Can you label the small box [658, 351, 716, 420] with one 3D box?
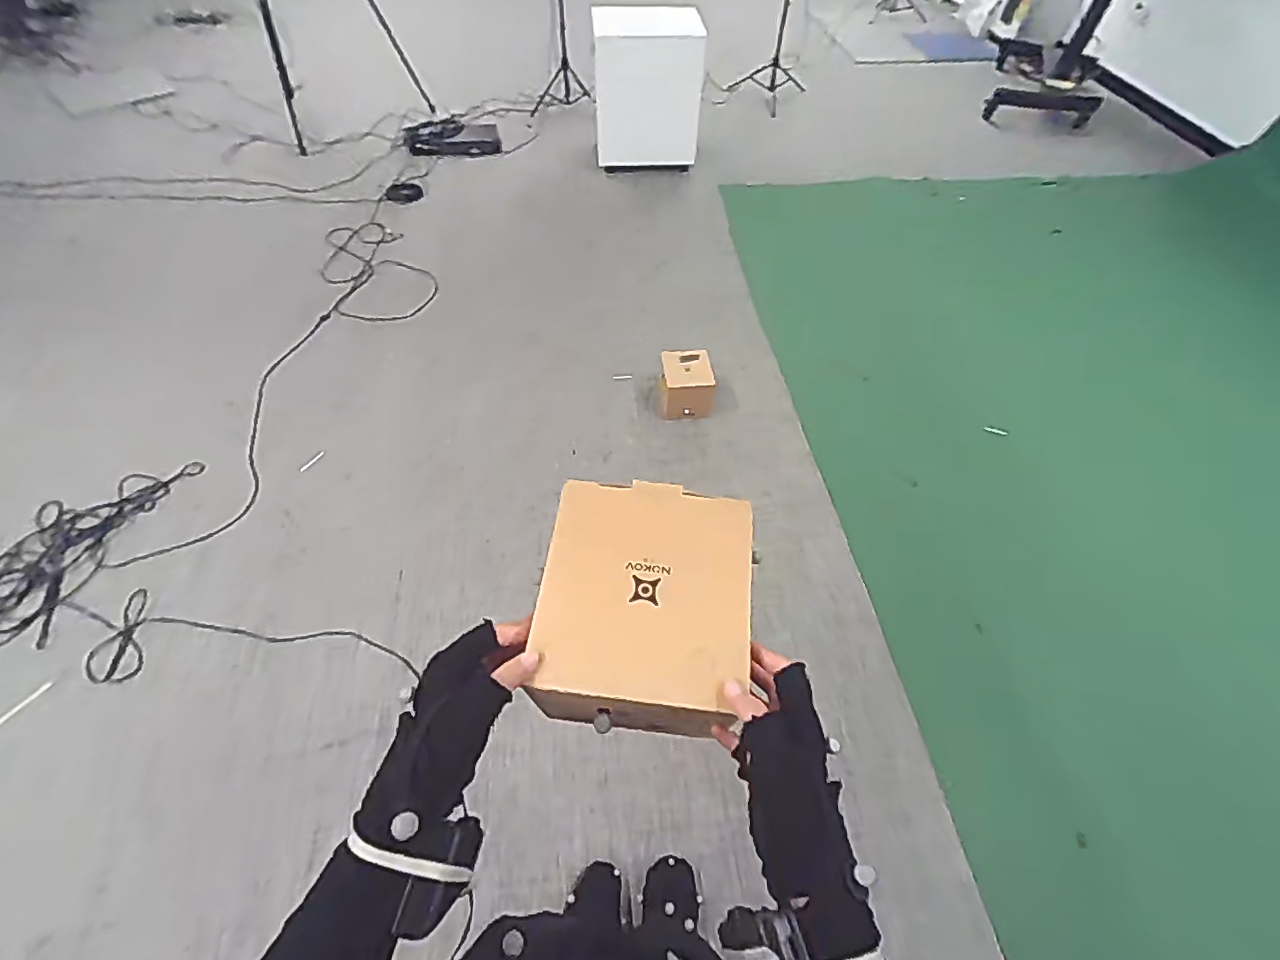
[{"bbox_3d":[0.160,-0.334,1.912,0.168,0.176,0.179,-5,56,-6],"label":"small box"}]
